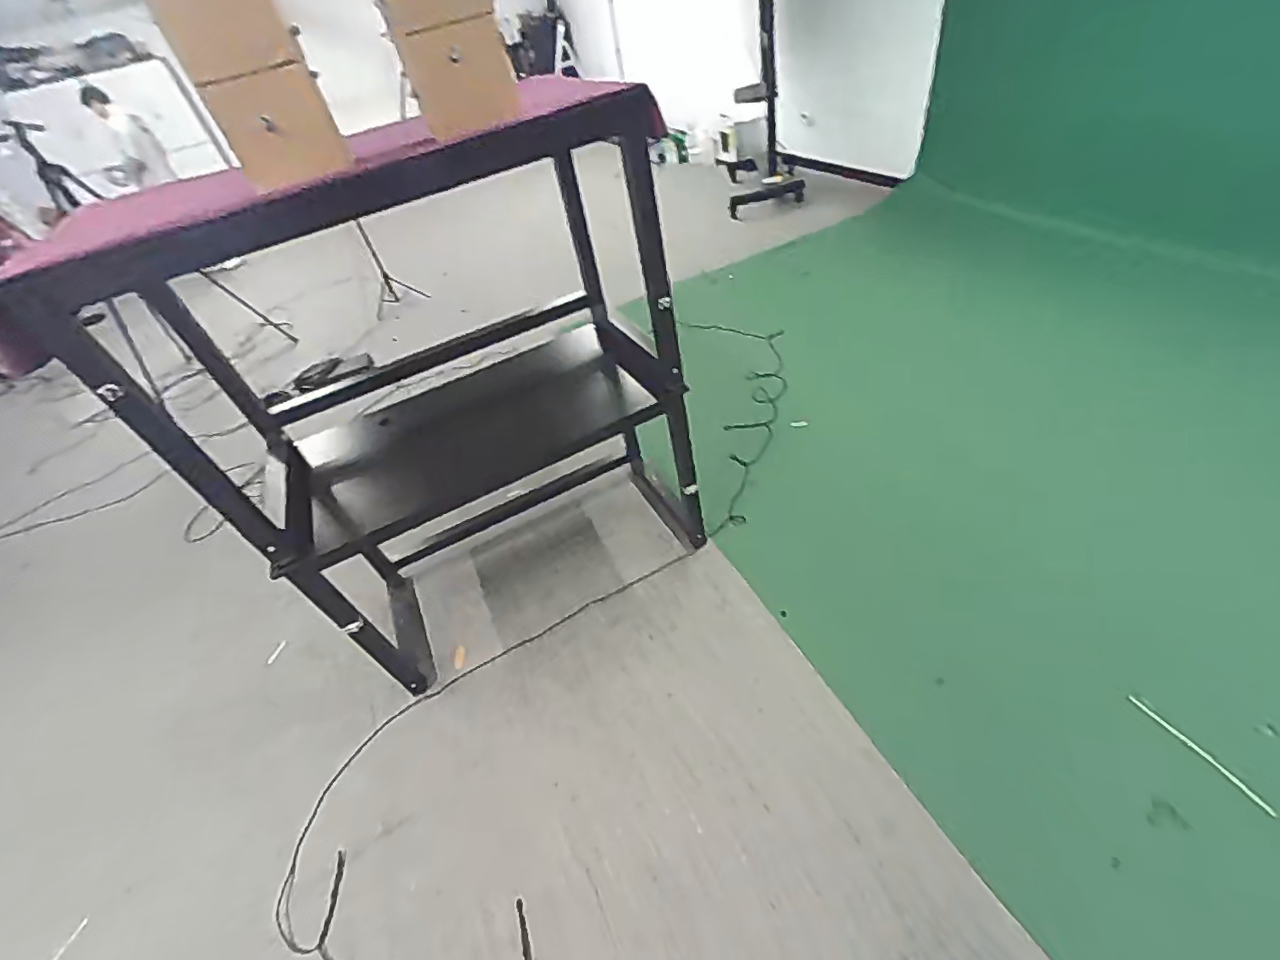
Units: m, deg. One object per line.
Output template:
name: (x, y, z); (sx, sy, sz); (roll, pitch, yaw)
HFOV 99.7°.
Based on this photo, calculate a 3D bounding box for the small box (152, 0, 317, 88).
small box: (-0.680, -0.773, 0.900); (0.179, 0.176, 0.168); (-22, 43, -9)

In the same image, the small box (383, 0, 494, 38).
small box: (-0.376, -0.907, 0.955); (0.179, 0.176, 0.168); (-28, 44, -12)

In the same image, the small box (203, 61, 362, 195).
small box: (-0.650, -0.654, 1.008); (0.179, 0.176, 0.168); (-24, 43, -9)

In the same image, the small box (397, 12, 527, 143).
small box: (-0.347, -0.788, 1.065); (0.179, 0.176, 0.168); (-26, 45, -11)
